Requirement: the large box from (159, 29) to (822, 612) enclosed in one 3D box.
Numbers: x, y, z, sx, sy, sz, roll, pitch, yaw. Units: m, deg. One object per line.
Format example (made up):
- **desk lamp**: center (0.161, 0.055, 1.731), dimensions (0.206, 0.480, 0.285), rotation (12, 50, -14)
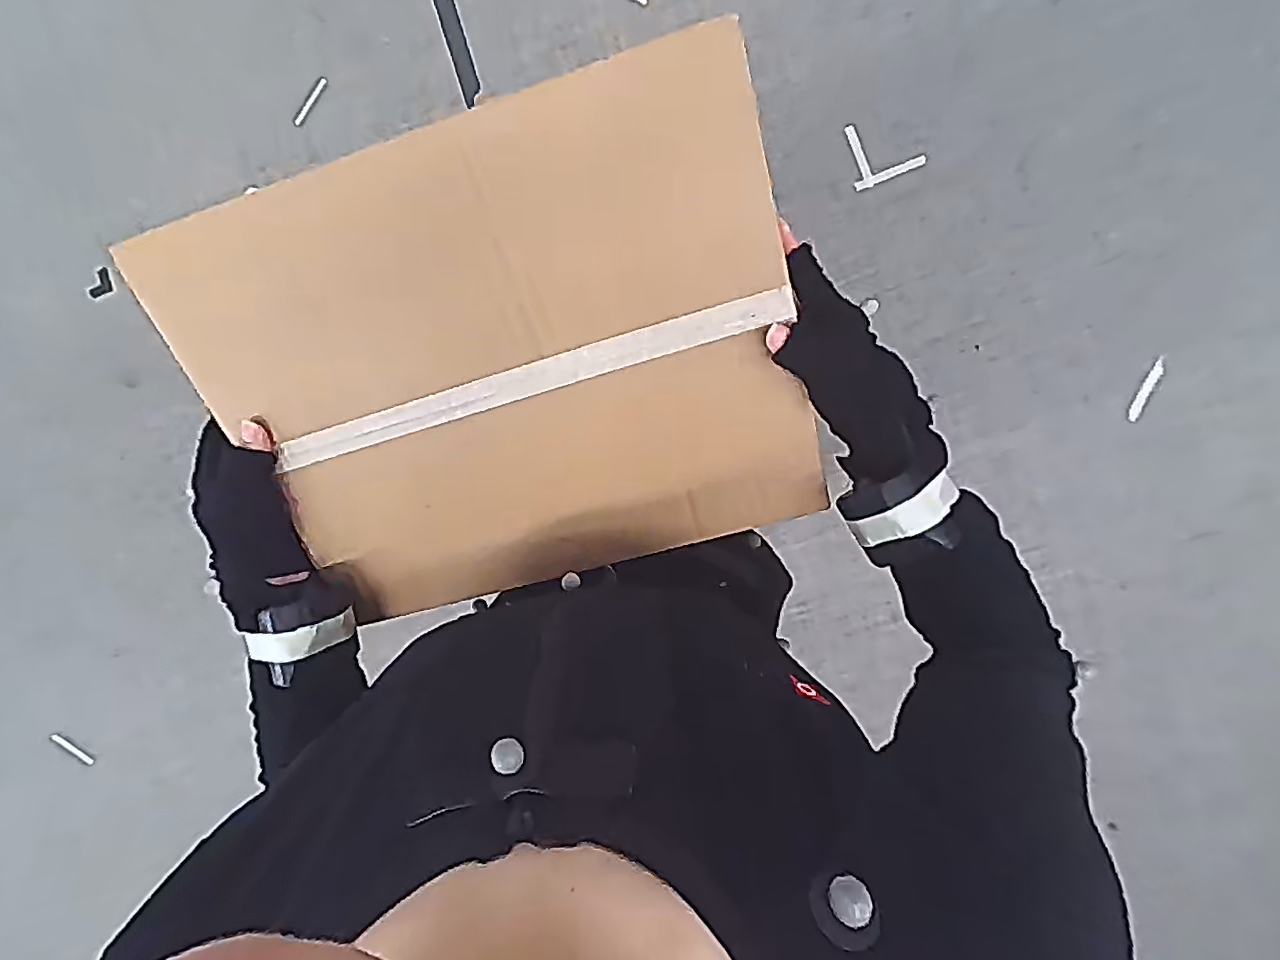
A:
- **large box**: center (-0.089, -0.128, 0.524), dimensions (0.408, 0.320, 0.320), rotation (-15, 114, 8)
